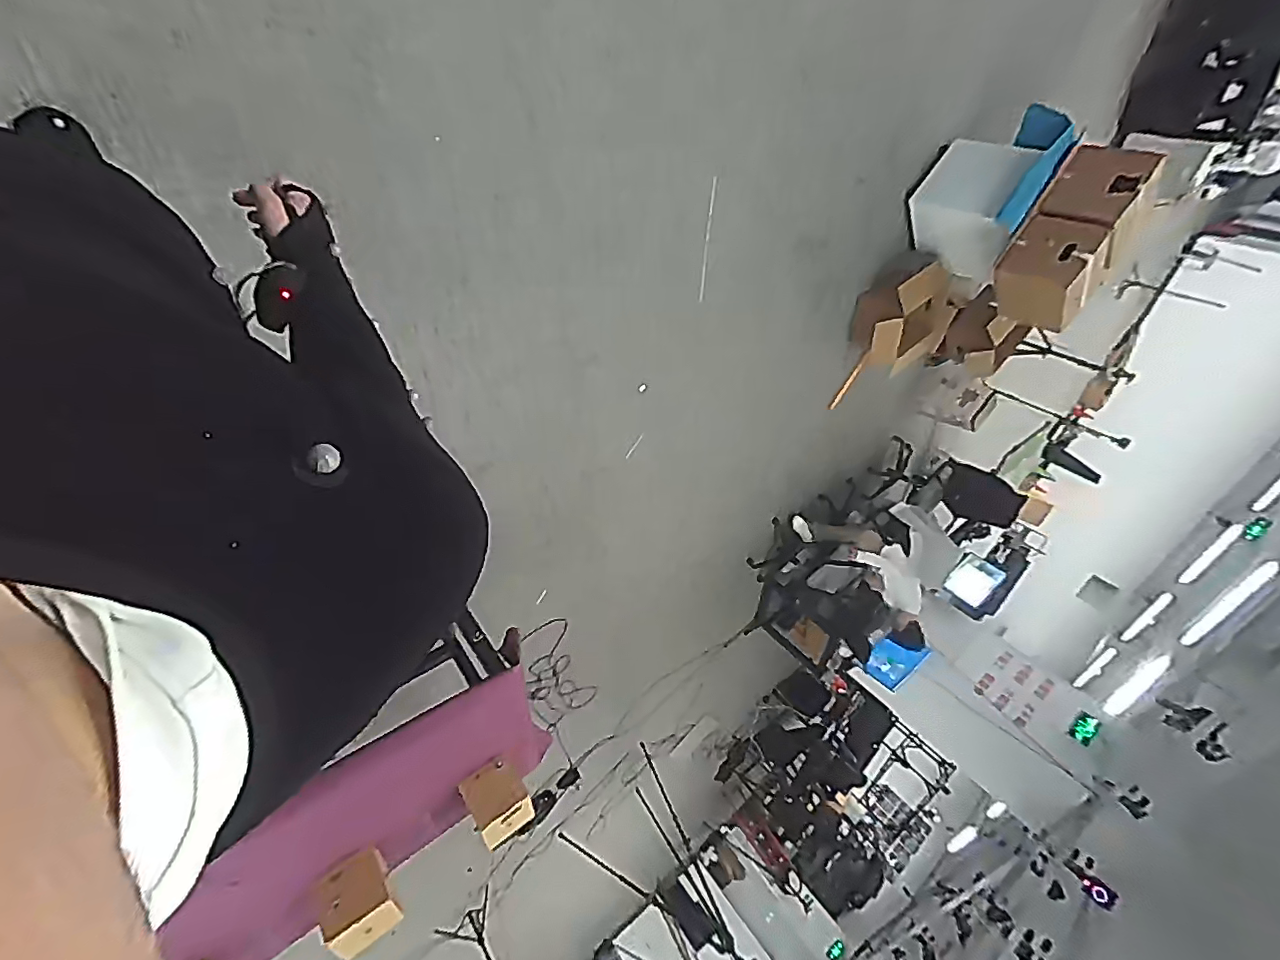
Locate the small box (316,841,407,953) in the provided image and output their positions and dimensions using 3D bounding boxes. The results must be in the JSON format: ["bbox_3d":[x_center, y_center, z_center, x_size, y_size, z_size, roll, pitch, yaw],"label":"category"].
[{"bbox_3d":[-0.784,1.164,1.521,0.168,0.176,0.179,-25,137,-29],"label":"small box"}]

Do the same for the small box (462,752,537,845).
[{"bbox_3d":[-0.449,1.006,1.726,0.168,0.176,0.179,-25,137,-28],"label":"small box"}]

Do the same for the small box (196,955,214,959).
[{"bbox_3d":[-1.110,1.305,1.303,0.168,0.176,0.179,-24,135,-31],"label":"small box"}]
